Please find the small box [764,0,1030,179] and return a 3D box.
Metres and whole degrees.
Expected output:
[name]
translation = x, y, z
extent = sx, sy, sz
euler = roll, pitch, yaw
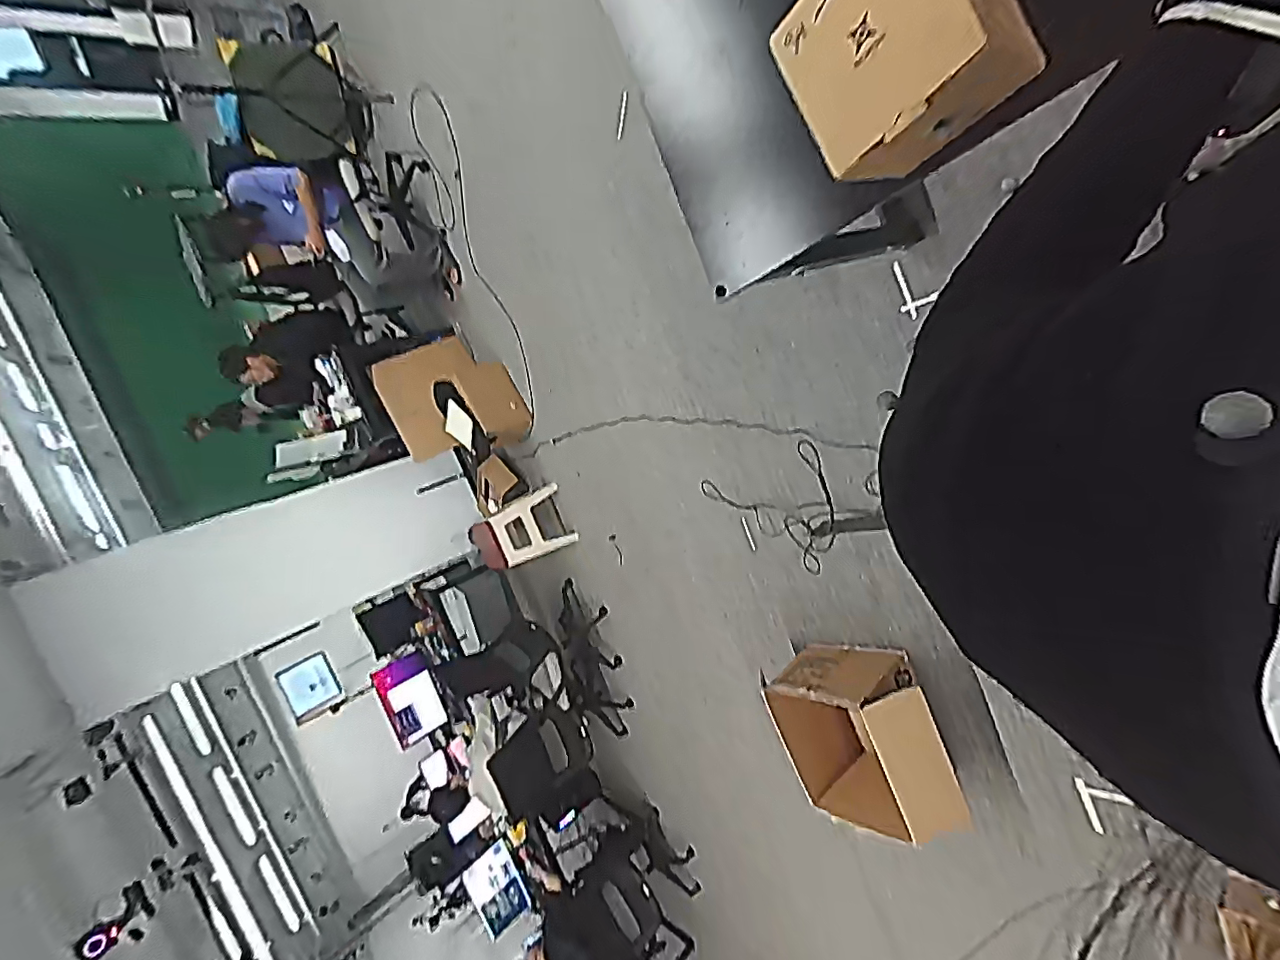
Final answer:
[small box]
translation = 0.275, -0.459, 0.579
extent = 0.168, 0.176, 0.179
euler = -26, 89, 55
